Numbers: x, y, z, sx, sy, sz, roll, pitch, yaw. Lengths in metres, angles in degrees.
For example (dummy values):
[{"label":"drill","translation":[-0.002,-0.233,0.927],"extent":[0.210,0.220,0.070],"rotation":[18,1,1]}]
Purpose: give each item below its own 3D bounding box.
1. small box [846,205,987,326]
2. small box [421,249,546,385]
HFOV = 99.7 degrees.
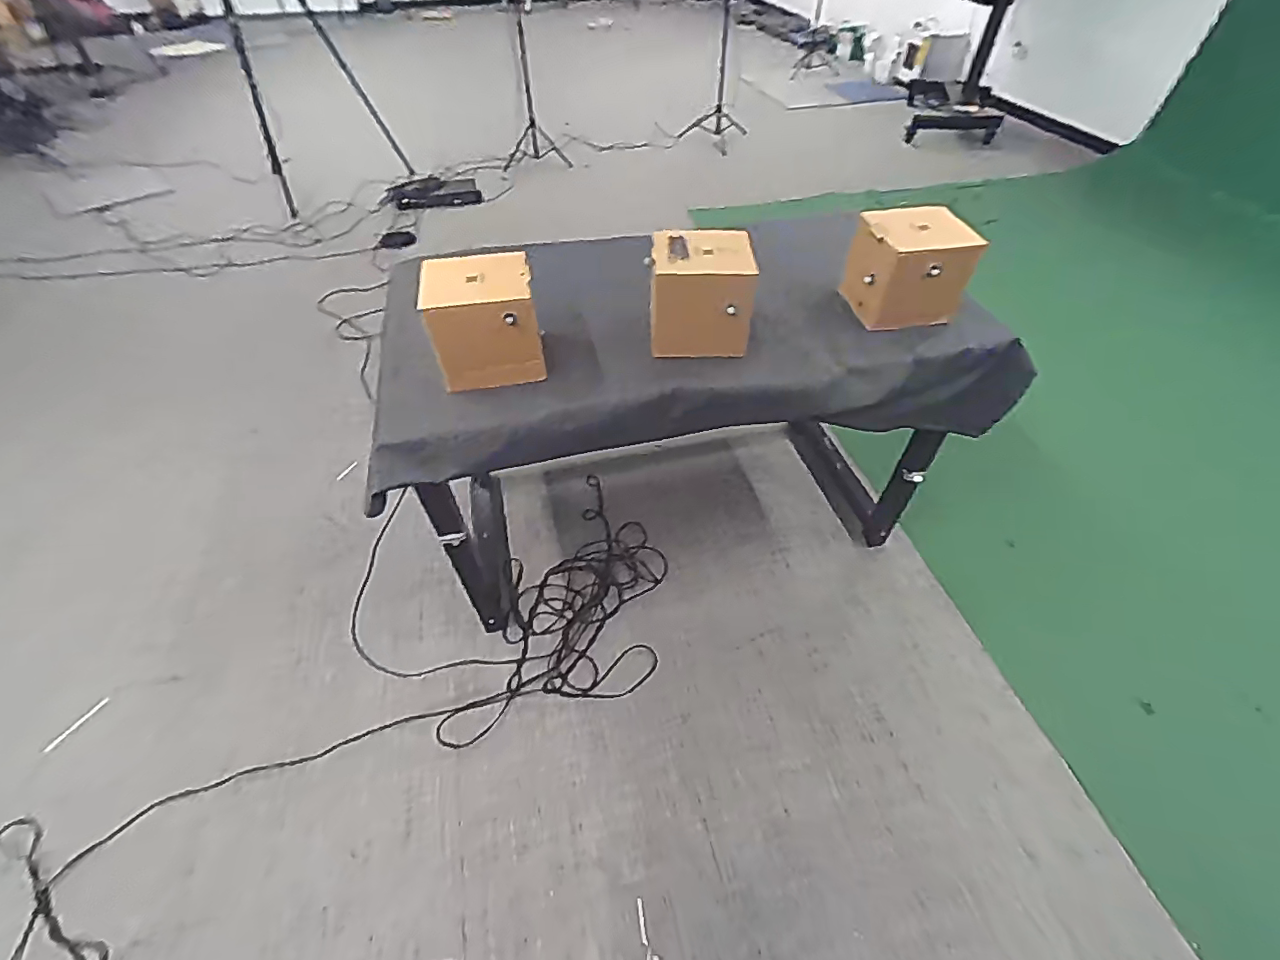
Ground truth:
[{"label":"small box","translation":[0.528,-0.421,1.070],"extent":[0.179,0.176,0.168],"rotation":[-6,50,-6]},{"label":"small box","translation":[-0.270,-0.285,0.957],"extent":[0.179,0.176,0.168],"rotation":[-9,49,-8]}]
